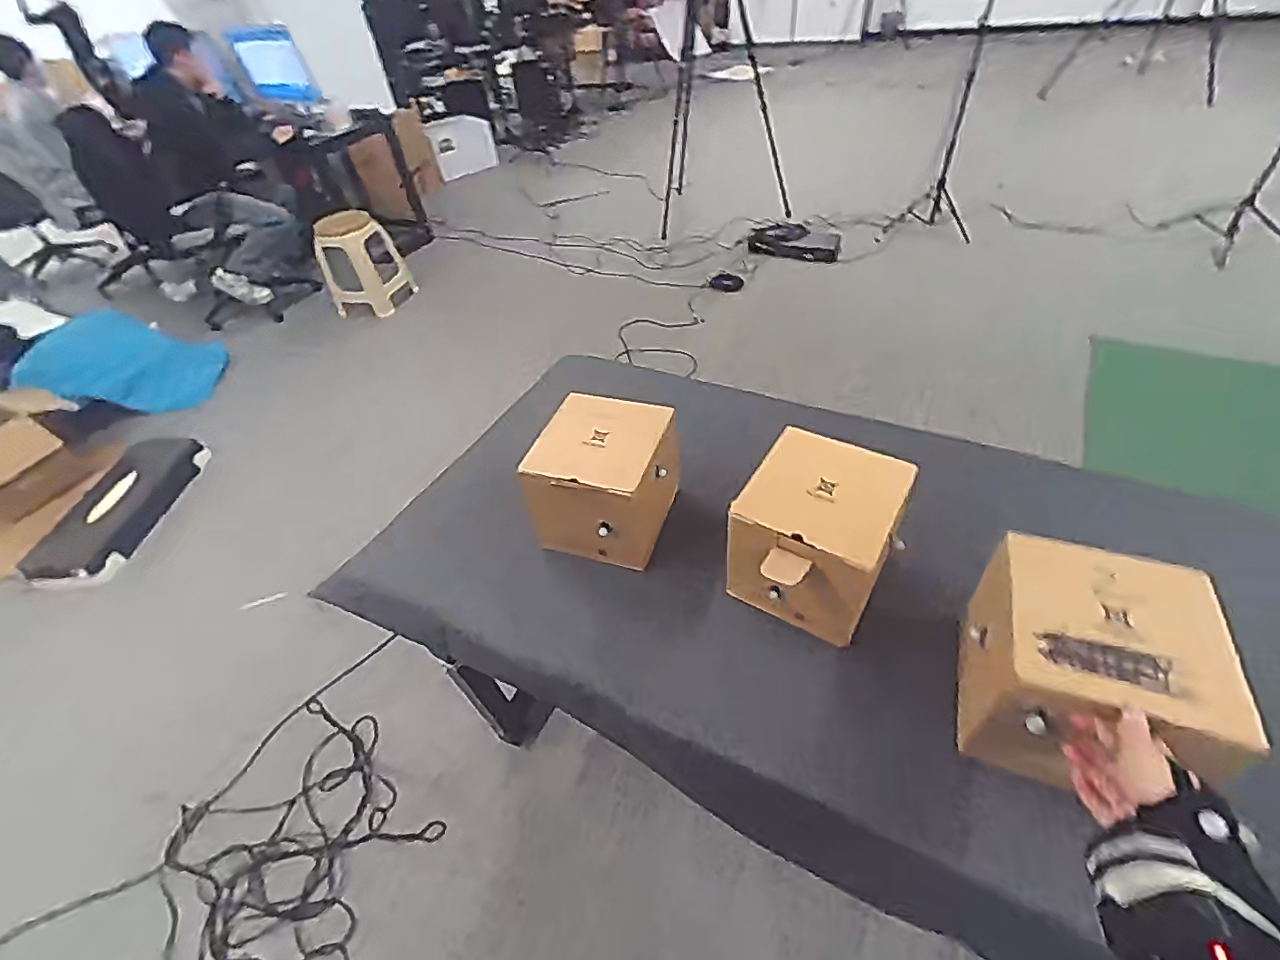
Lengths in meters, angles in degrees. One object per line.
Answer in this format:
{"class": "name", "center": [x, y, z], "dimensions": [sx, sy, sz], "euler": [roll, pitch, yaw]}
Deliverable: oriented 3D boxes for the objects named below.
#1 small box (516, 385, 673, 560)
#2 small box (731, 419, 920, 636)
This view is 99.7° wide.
{"class": "small box", "center": [-0.051, -0.011, 0.781], "dimensions": [0.168, 0.176, 0.179], "euler": [12, 47, 16]}
{"class": "small box", "center": [0.223, 0.058, 0.680], "dimensions": [0.168, 0.176, 0.179], "euler": [23, 53, 26]}
